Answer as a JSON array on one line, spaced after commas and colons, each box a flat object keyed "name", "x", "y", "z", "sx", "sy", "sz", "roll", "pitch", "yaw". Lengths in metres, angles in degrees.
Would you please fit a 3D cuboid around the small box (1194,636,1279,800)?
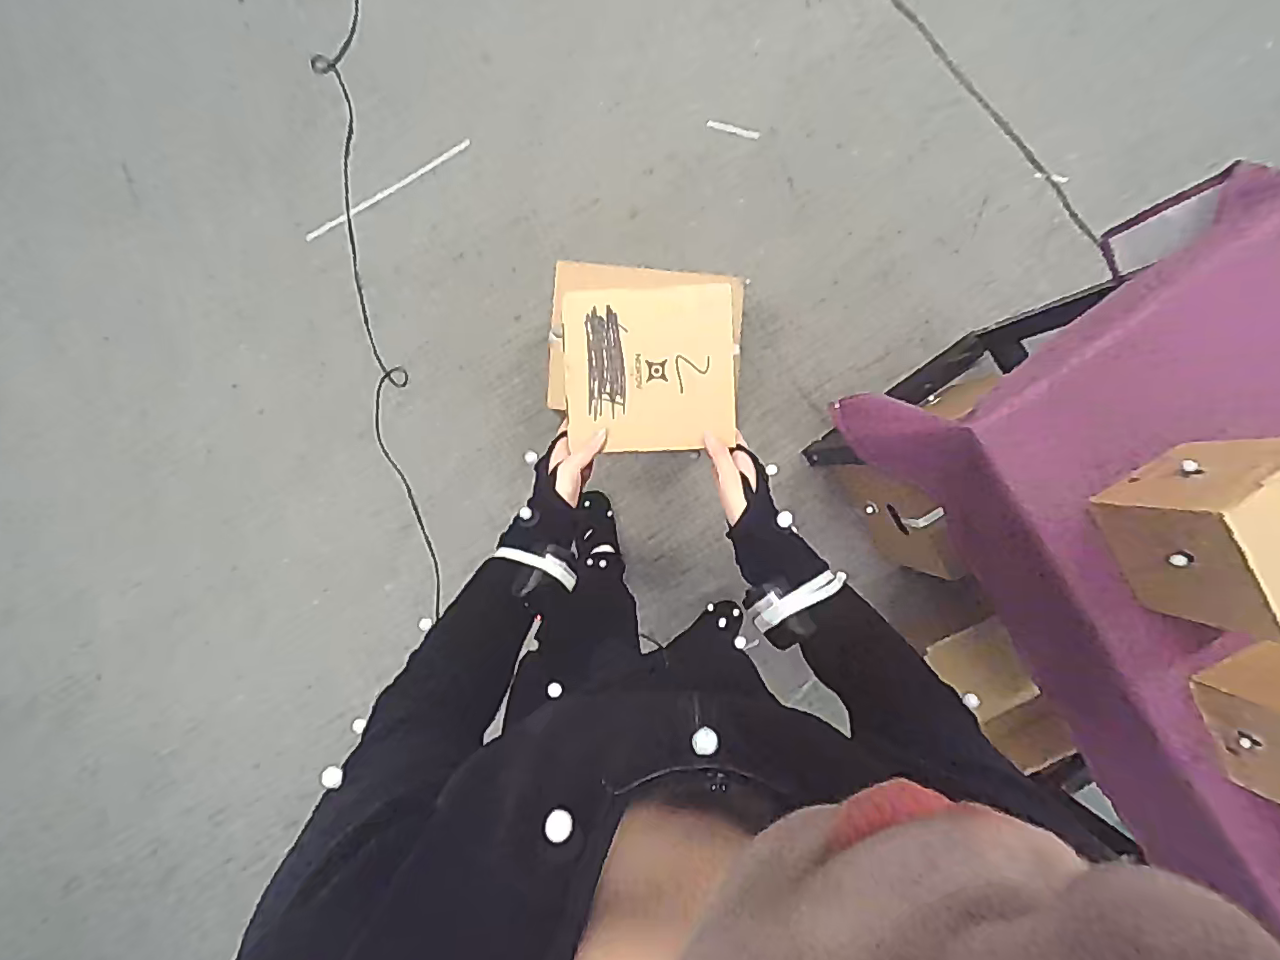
[{"name": "small box", "x": 0.889, "y": 0.317, "z": 0.688, "sx": 0.179, "sy": 0.176, "sz": 0.168, "roll": -26, "pitch": 93, "yaw": -1}]

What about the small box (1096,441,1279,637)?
[{"name": "small box", "x": 0.732, "y": 0.064, "z": 0.670, "sx": 0.168, "sy": 0.176, "sz": 0.179, "roll": -31, "pitch": 92, "yaw": -1}]

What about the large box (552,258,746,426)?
[{"name": "large box", "x": 0.009, "y": -0.302, "z": 1.286, "sx": 0.408, "sy": 0.320, "sz": 0.320, "roll": 4, "pitch": 93, "yaw": -4}]
